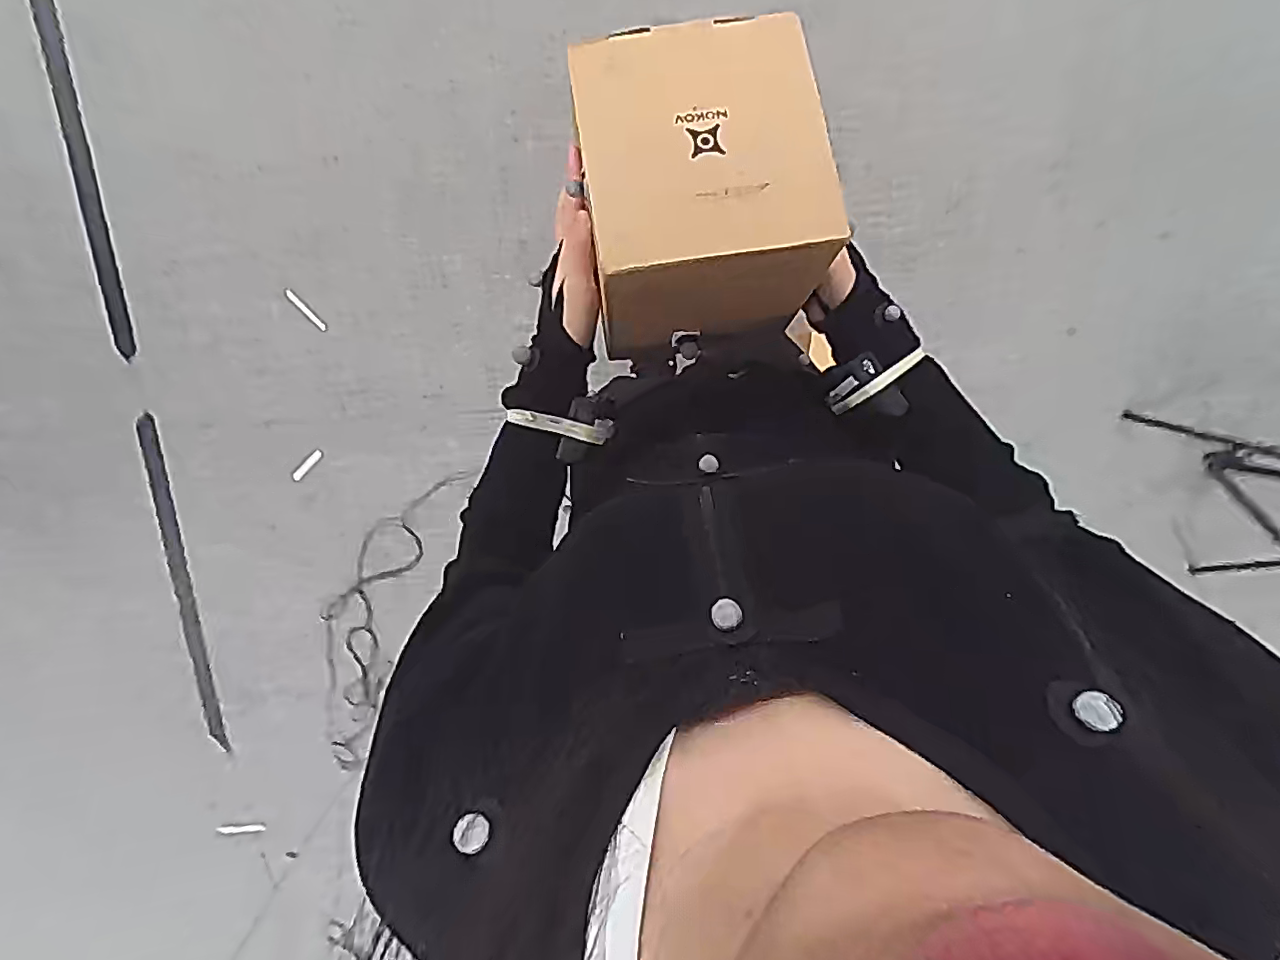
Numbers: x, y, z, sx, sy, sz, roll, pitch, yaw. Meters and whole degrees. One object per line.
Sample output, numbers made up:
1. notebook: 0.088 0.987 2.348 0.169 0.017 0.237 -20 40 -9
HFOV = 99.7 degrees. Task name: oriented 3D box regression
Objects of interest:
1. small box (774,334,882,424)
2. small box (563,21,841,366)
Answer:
1. small box: 0.416 -0.230 1.227 0.168 0.176 0.179 5 103 -4
2. small box: 0.038 -0.215 0.445 0.168 0.176 0.179 -11 83 -2
